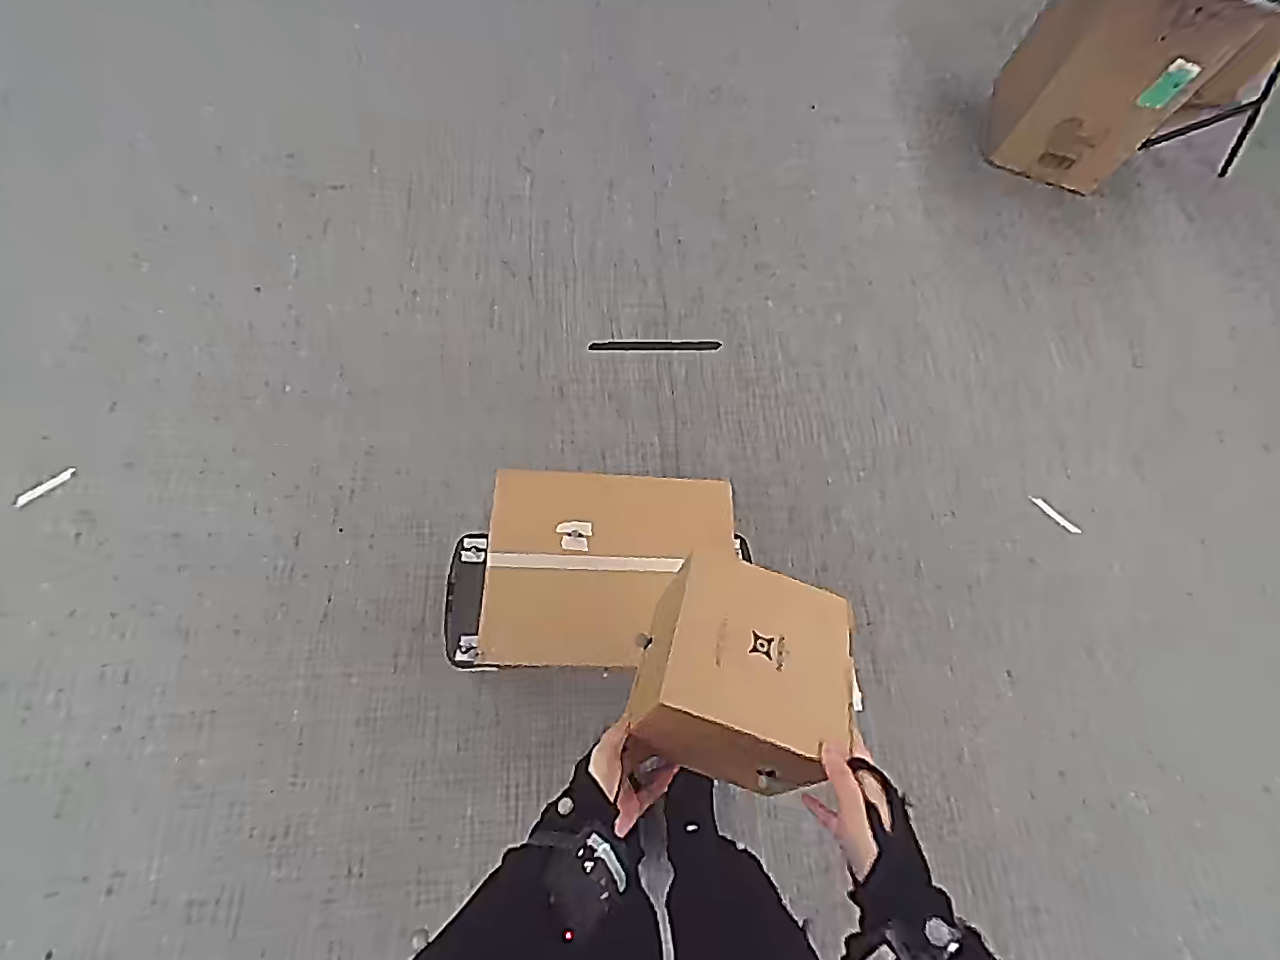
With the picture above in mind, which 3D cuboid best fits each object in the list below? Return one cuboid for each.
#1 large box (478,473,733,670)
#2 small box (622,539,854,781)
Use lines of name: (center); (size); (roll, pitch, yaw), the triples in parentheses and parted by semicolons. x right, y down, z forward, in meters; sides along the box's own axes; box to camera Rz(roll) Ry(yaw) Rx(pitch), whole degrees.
large box: (-0.055, 0.186, 1.005); (0.408, 0.320, 0.320); (2, 70, -4)
small box: (0.097, 0.194, 0.563); (0.179, 0.176, 0.168); (20, 51, -1)
